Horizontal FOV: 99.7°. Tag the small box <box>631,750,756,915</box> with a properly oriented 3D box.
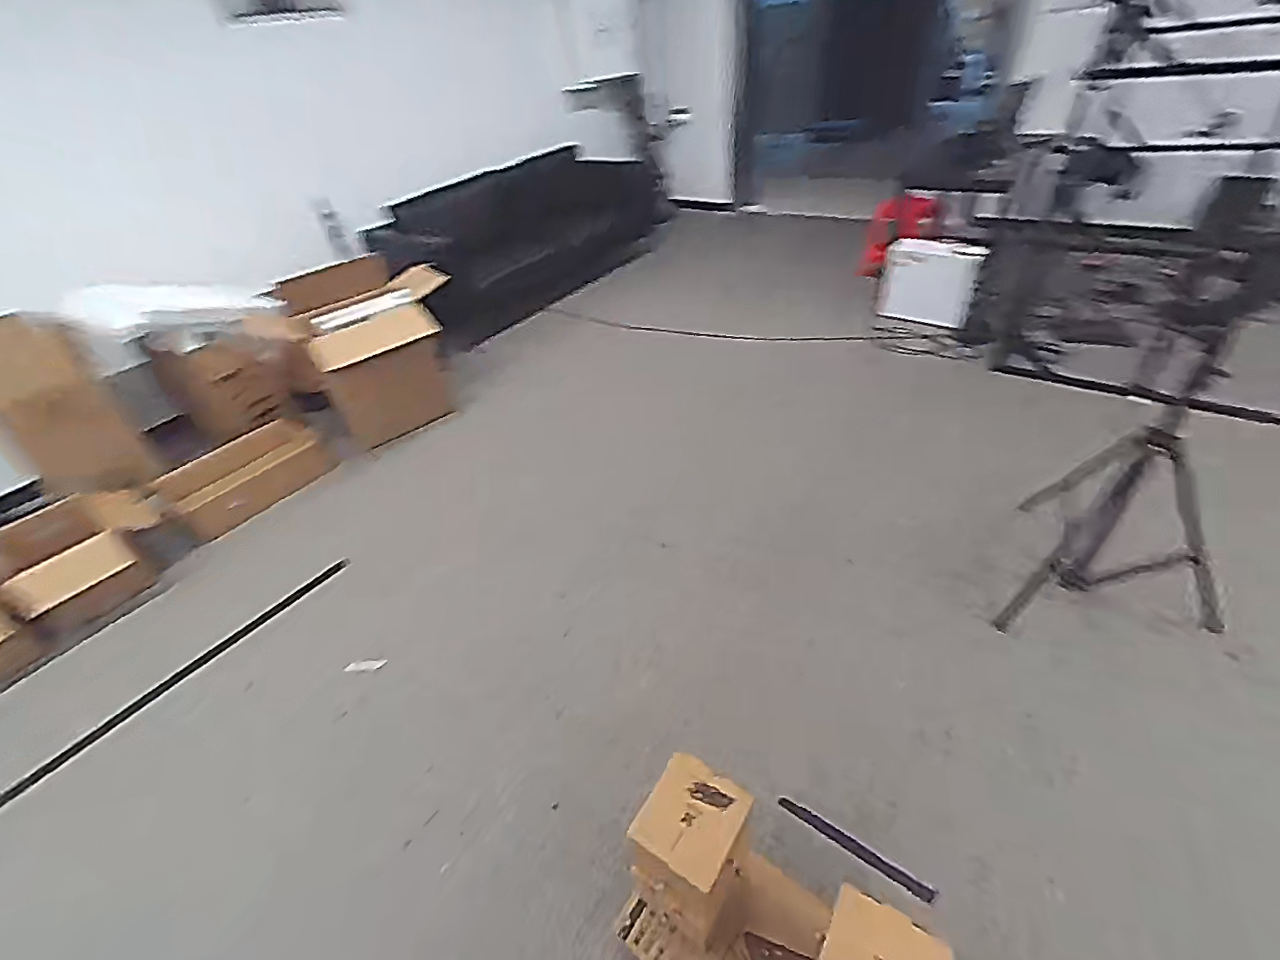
[{"bbox_3d":[0.102,0.663,1.021,0.168,0.176,0.179,22,47,30],"label":"small box"}]

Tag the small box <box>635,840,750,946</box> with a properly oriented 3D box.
[{"bbox_3d":[0.109,0.798,1.114,0.168,0.176,0.179,23,48,31],"label":"small box"}]

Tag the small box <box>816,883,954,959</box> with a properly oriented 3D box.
[{"bbox_3d":[0.360,0.785,0.836,0.168,0.176,0.179,18,46,29],"label":"small box"}]
